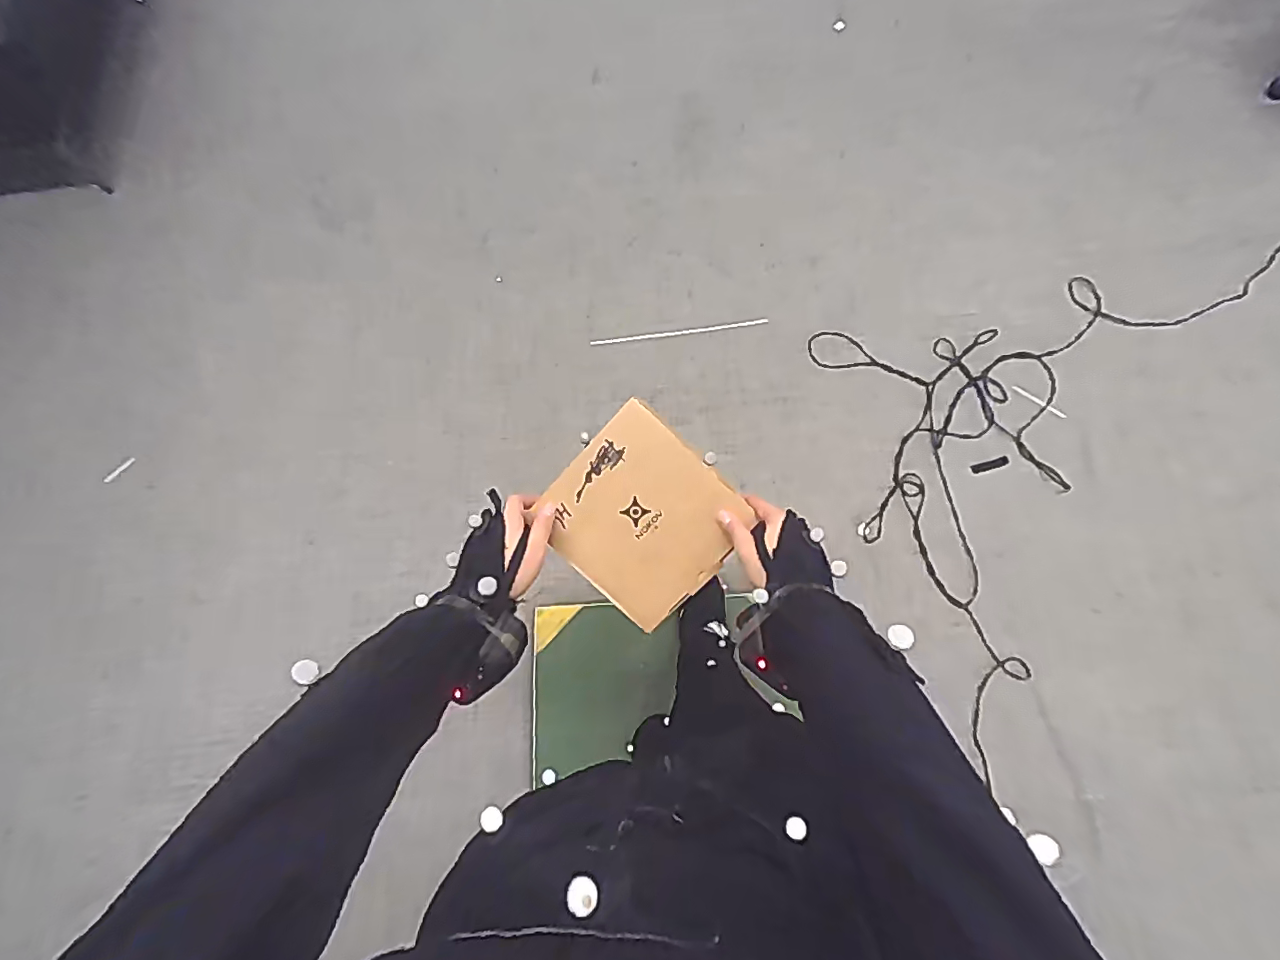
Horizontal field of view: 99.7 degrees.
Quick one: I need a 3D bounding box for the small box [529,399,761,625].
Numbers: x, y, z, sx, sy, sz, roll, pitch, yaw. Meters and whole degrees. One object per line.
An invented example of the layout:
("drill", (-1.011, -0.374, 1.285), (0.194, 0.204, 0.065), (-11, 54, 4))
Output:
("small box", (0.008, 0.024, 0.616), (0.179, 0.176, 0.168), (43, 96, -2))
